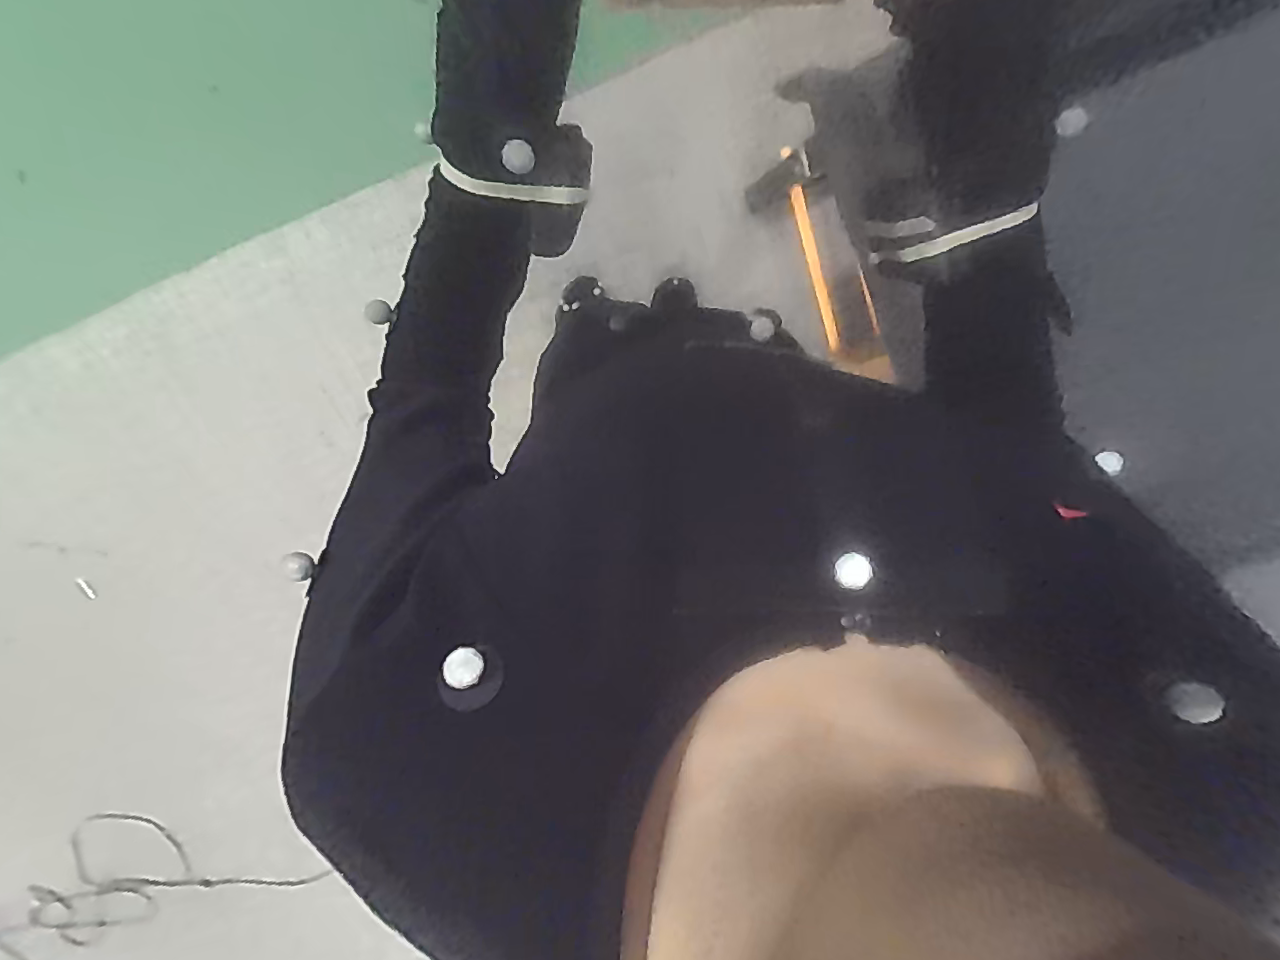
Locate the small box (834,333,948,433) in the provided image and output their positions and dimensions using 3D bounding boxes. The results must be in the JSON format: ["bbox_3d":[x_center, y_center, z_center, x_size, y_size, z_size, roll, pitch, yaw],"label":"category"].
[{"bbox_3d":[0.575,-0.231,1.252,0.179,0.176,0.168,-18,109,7],"label":"small box"}]
